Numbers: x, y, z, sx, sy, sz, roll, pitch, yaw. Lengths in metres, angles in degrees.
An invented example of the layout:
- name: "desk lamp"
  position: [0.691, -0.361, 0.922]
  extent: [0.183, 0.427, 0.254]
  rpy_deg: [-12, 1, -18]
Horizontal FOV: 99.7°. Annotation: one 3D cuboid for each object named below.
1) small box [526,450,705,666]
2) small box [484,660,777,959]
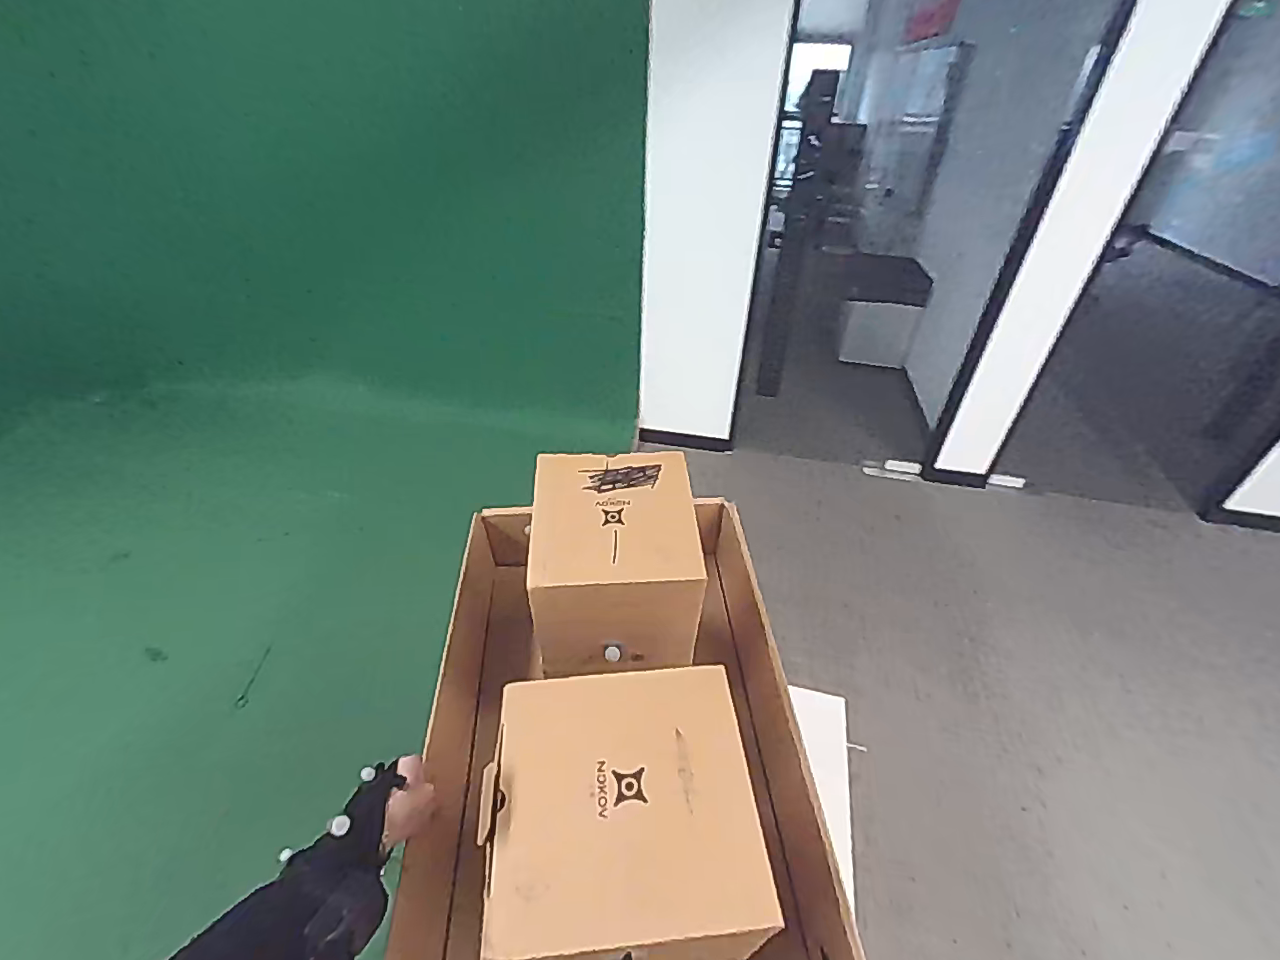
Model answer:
- name: "small box"
  position: [-0.029, 0.086, 0.604]
  extent: [0.168, 0.176, 0.179]
  rpy_deg: [-2, 47, -4]
- name: "small box"
  position: [-0.013, 0.264, 0.424]
  extent: [0.179, 0.176, 0.168]
  rpy_deg: [-3, 45, -6]
